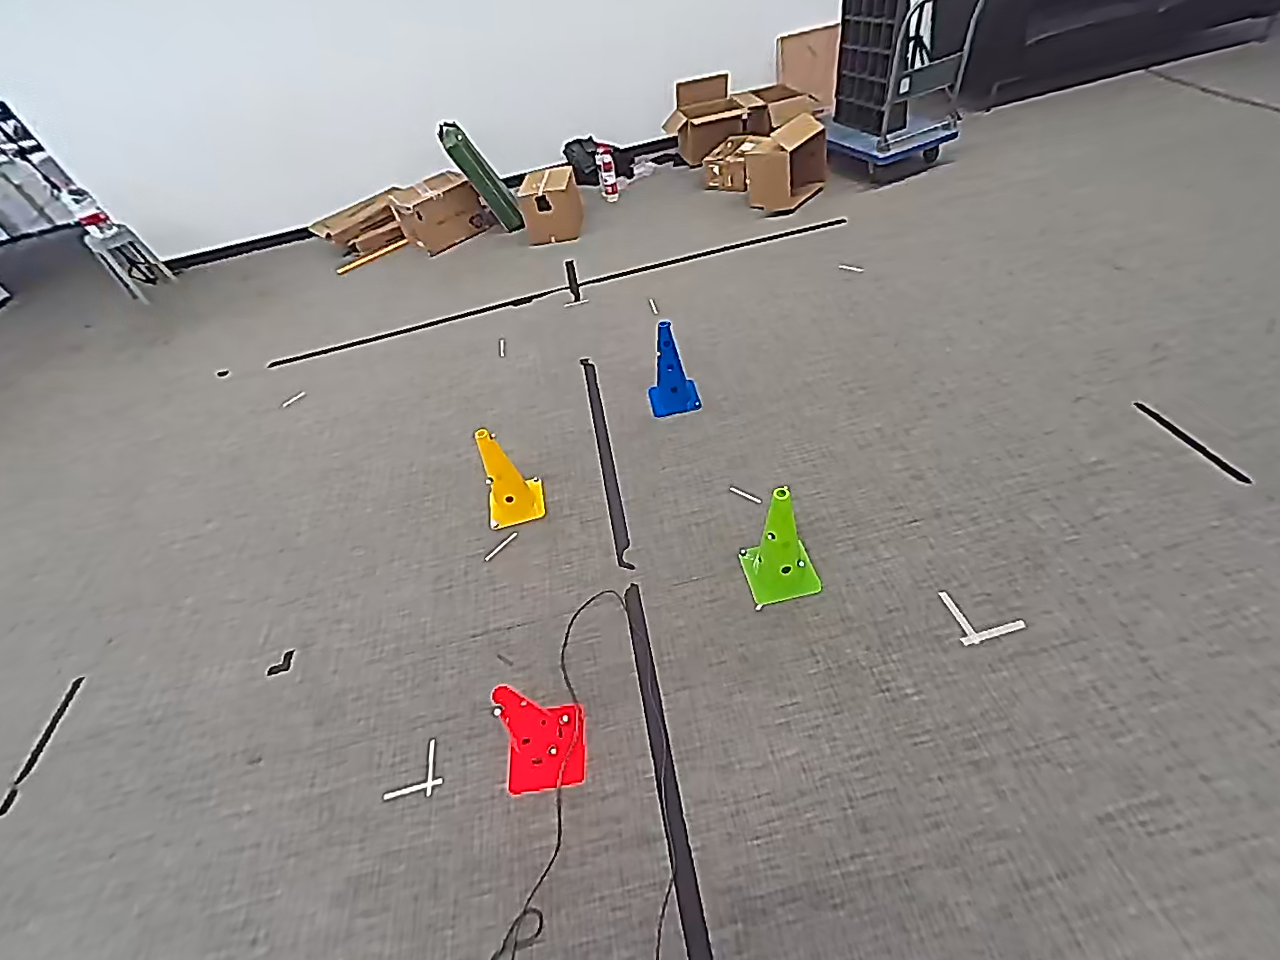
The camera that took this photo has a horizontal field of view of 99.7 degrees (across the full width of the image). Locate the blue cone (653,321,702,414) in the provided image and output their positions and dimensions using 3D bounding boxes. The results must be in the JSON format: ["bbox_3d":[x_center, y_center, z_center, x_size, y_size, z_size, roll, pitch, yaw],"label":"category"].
[{"bbox_3d":[0.130,-0.455,2.144,0.192,0.380,0.193,-10,47,2],"label":"blue cone"}]

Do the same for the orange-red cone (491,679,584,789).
[{"bbox_3d":[-0.271,0.563,1.271,0.199,0.360,0.198,-11,45,4],"label":"orange-red cone"}]

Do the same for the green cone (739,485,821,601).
[{"bbox_3d":[0.391,0.151,1.504,0.202,0.368,0.200,-13,46,-1],"label":"green cone"}]
